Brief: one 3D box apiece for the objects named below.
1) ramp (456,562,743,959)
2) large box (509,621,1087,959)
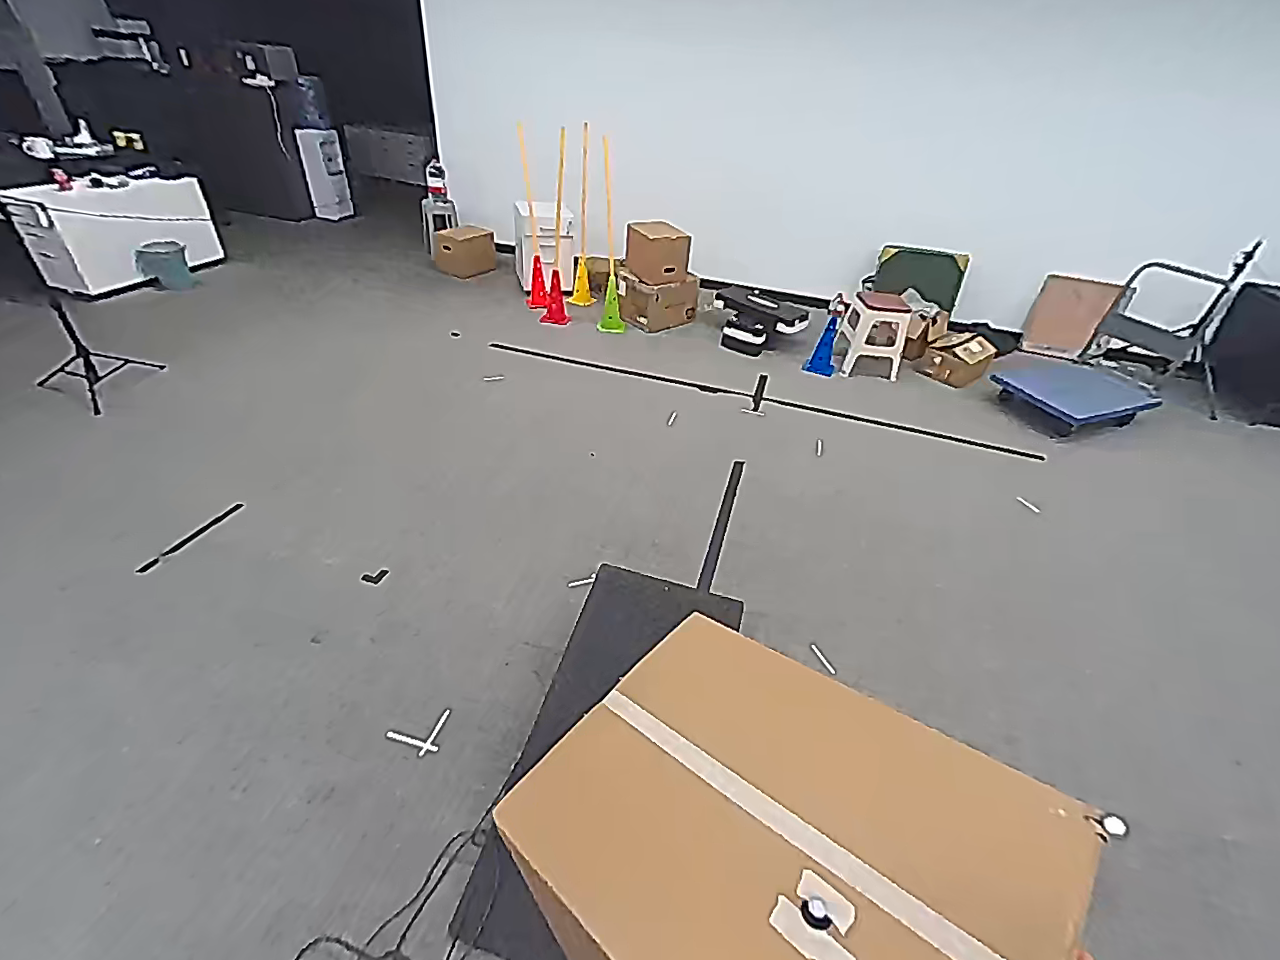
[{"bbox_3d":[-0.033,0.682,1.473,0.509,0.206,0.991,14,38,8],"label":"ramp"},{"bbox_3d":[0.138,0.418,0.546,0.408,0.320,0.320,19,40,41],"label":"large box"}]
